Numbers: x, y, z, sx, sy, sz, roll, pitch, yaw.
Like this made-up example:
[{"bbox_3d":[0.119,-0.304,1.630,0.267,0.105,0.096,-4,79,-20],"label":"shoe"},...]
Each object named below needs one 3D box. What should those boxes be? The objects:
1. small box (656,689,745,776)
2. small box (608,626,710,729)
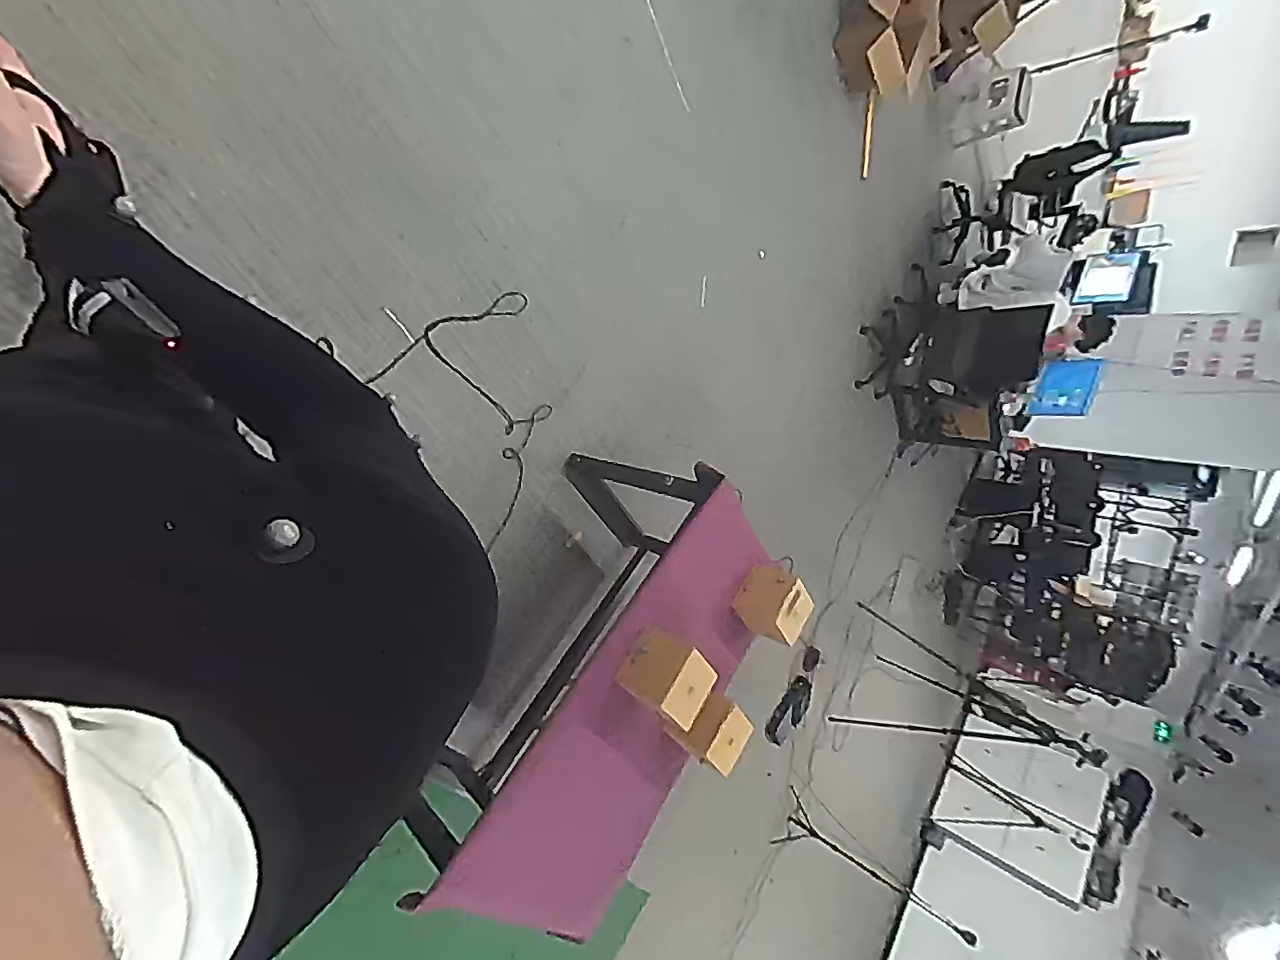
[{"bbox_3d":[0.180,0.734,1.614,0.168,0.176,0.179,-50,129,-23],"label":"small box"},{"bbox_3d":[0.049,0.510,1.416,0.168,0.176,0.179,-52,133,-22],"label":"small box"}]
